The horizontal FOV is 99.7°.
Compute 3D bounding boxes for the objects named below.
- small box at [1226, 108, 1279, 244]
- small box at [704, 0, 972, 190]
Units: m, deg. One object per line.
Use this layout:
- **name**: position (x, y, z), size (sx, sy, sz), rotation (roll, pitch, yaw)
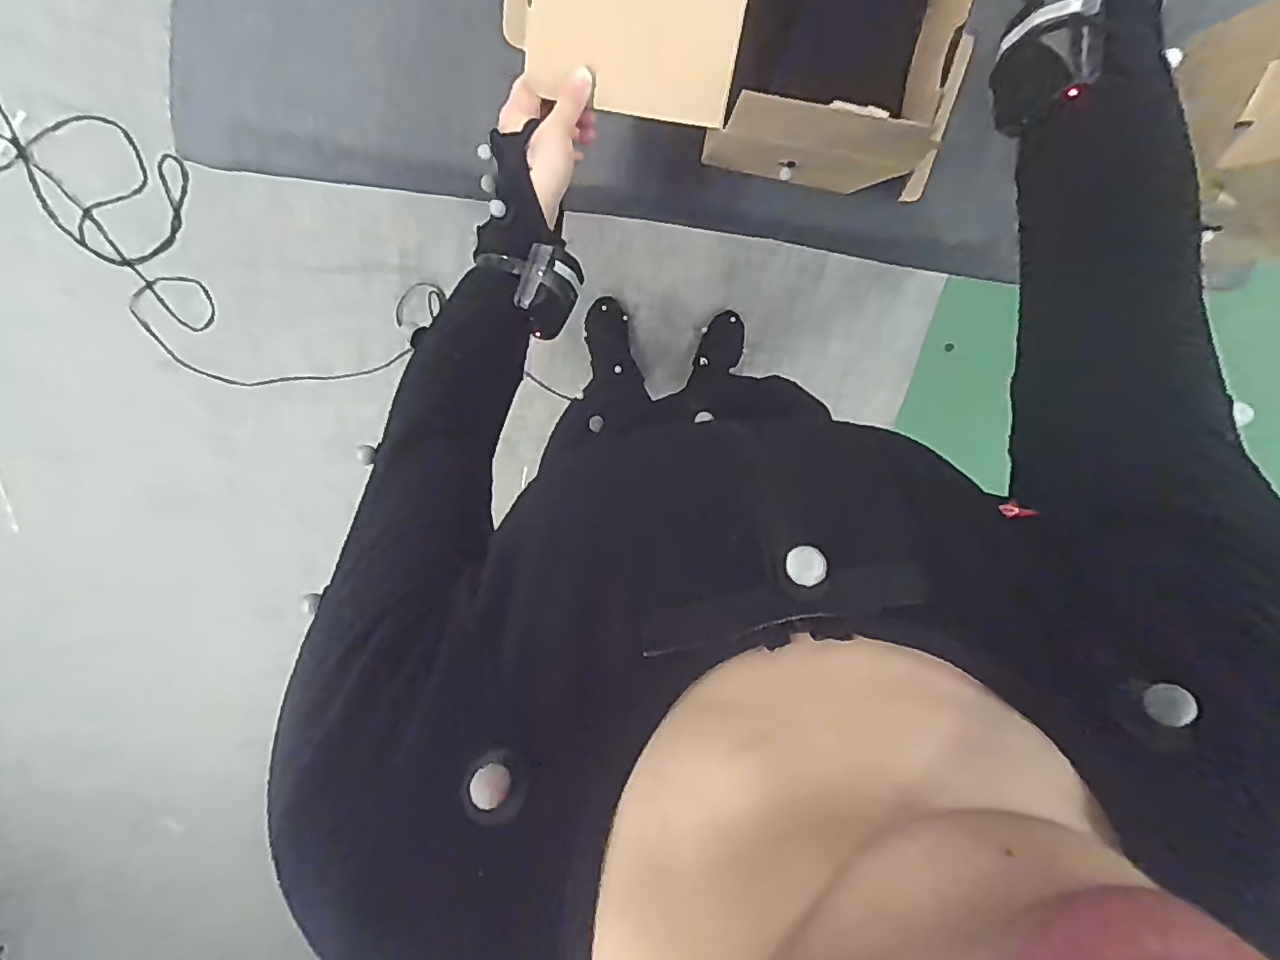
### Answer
- **small box**: position (0.590, -0.244, 0.369), size (0.179, 0.176, 0.168), rotation (33, 106, -12)
- **small box**: position (0.166, -0.380, 0.501), size (0.179, 0.176, 0.168), rotation (10, 112, -2)
